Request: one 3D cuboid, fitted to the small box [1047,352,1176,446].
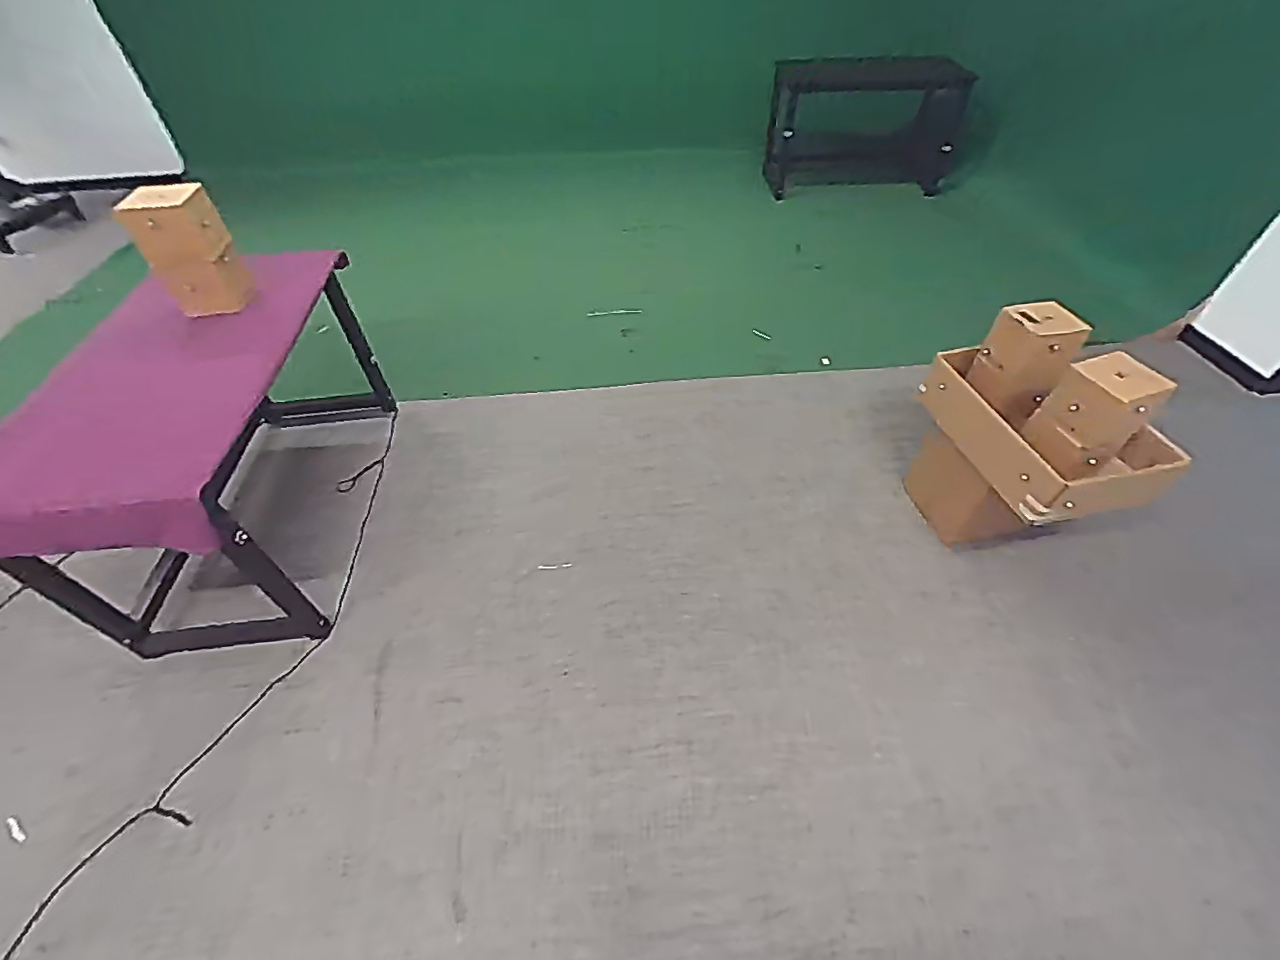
[{"bbox_3d":[1.247,-0.214,1.452,0.179,0.176,0.168,-15,50,-11],"label":"small box"}]

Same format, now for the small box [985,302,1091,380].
[{"bbox_3d":[1.189,-0.417,1.639,0.179,0.176,0.168,-7,48,-7],"label":"small box"}]

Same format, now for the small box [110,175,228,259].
[{"bbox_3d":[-1.364,-0.769,1.584,0.179,0.176,0.168,-7,49,-5],"label":"small box"}]

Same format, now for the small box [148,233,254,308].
[{"bbox_3d":[-1.372,-0.659,1.704,0.179,0.176,0.168,-8,50,-5],"label":"small box"}]
